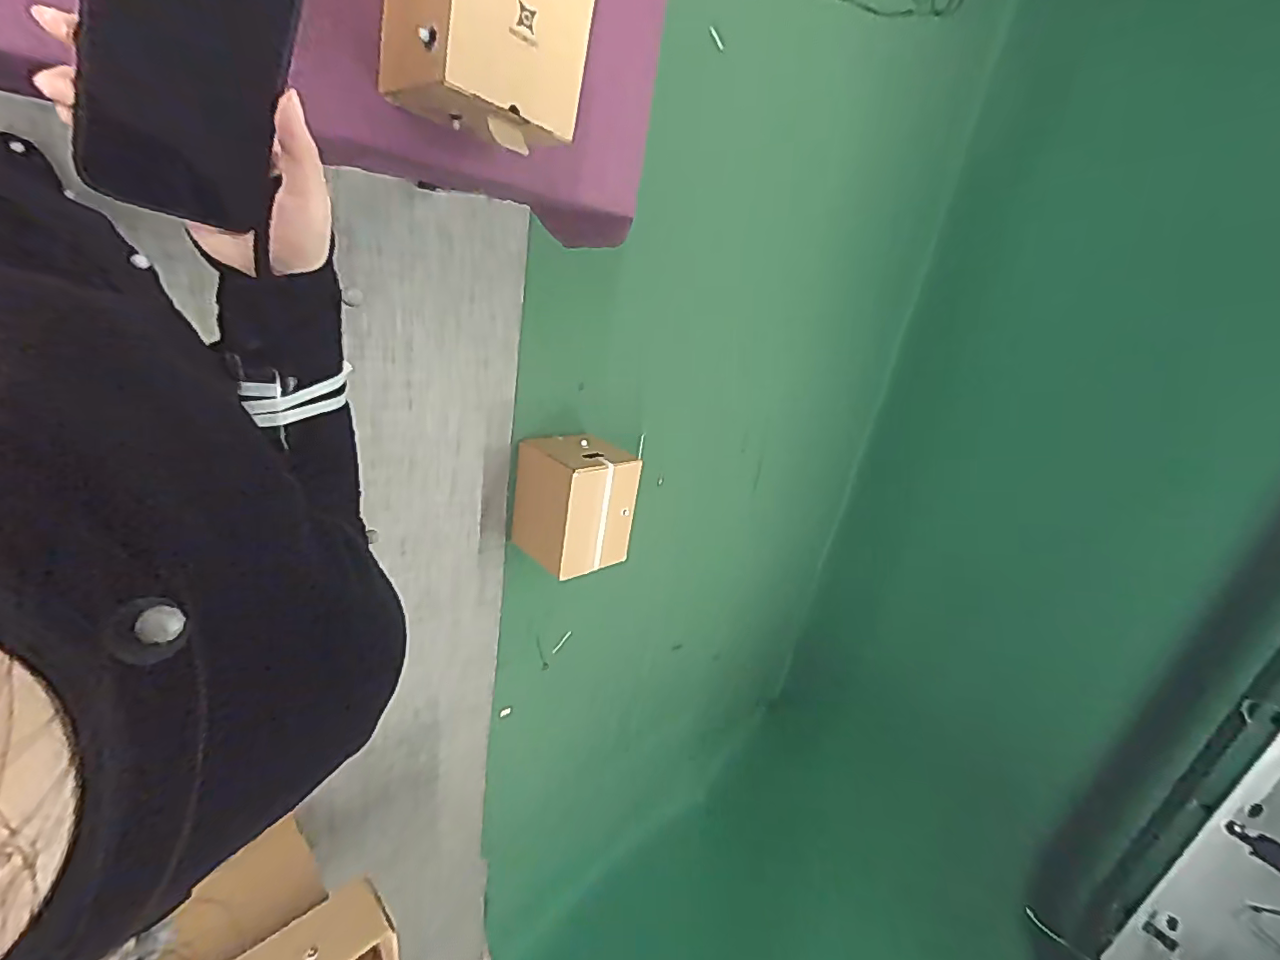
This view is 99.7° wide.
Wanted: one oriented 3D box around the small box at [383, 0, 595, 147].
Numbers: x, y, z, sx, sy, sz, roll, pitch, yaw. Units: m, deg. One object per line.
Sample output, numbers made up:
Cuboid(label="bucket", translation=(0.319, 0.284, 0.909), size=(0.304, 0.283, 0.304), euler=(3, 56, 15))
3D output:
Cuboid(label="small box", translation=(-0.176, -0.505, 0.616), size=(0.168, 0.176, 0.179), euler=(-6, 116, -46))

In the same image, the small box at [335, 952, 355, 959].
Cuboid(label="small box", translation=(-0.820, 1.420, 1.437), size=(0.168, 0.176, 0.179), euler=(-21, 127, -39))
